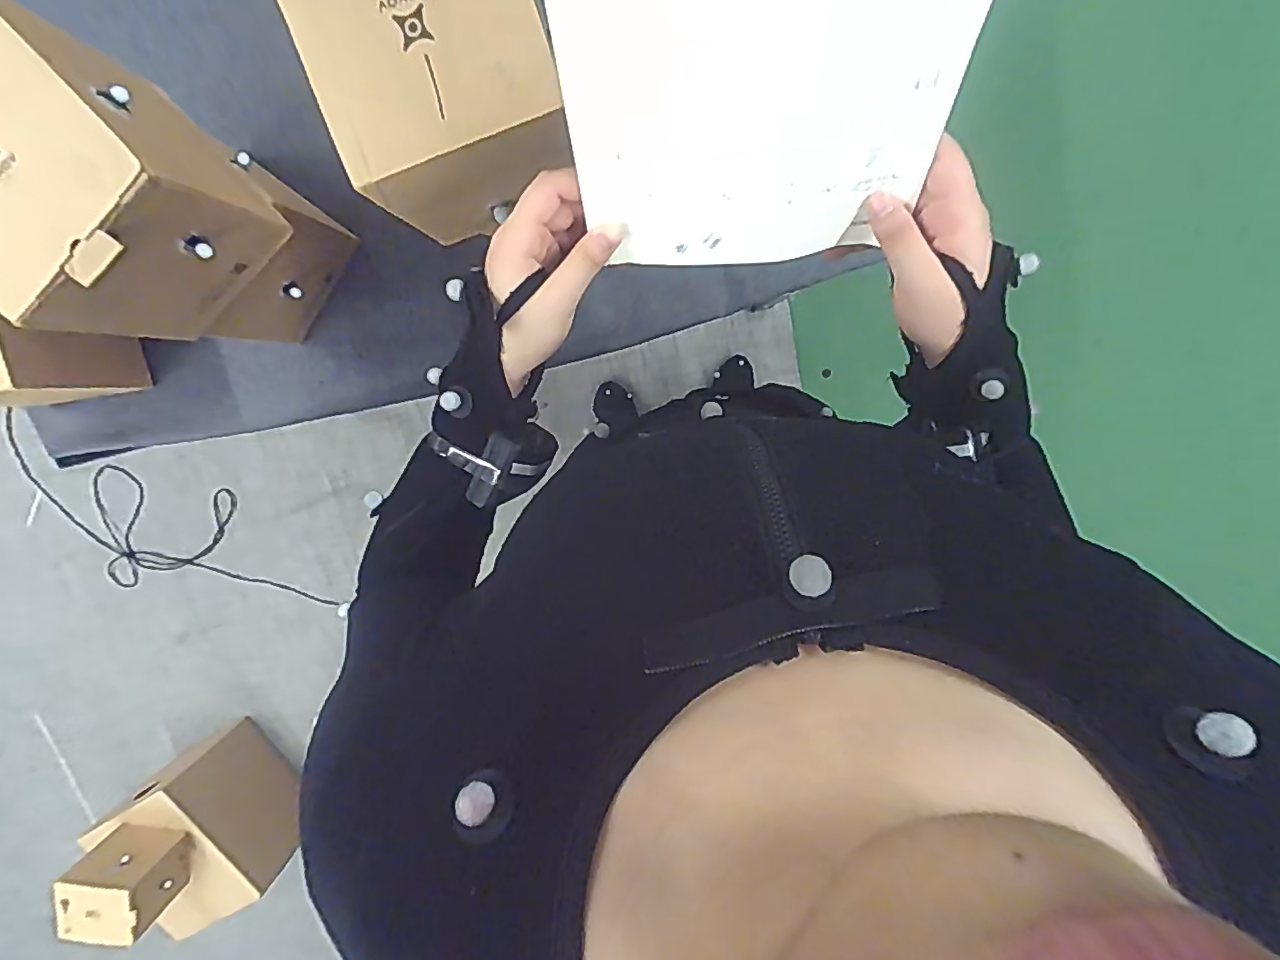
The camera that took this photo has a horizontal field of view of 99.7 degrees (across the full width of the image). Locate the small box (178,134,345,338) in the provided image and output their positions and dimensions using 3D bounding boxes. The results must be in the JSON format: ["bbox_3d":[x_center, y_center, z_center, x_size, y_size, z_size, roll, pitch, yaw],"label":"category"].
[{"bbox_3d":[-0.485,-0.280,0.620,0.179,0.176,0.168,36,99,-6],"label":"small box"}]

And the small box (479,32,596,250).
[{"bbox_3d":[-0.155,-0.369,0.595,0.179,0.176,0.168,16,101,-1],"label":"small box"}]

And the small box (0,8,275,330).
[{"bbox_3d":[-0.471,-0.245,0.461,0.168,0.176,0.179,-41,97,7],"label":"small box"}]

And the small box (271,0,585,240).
[{"bbox_3d":[-0.154,-0.322,0.437,0.168,0.176,0.179,-17,100,6],"label":"small box"}]

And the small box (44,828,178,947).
[{"bbox_3d":[-1.290,0.997,1.334,0.179,0.176,0.168,8,101,-3],"label":"small box"}]
